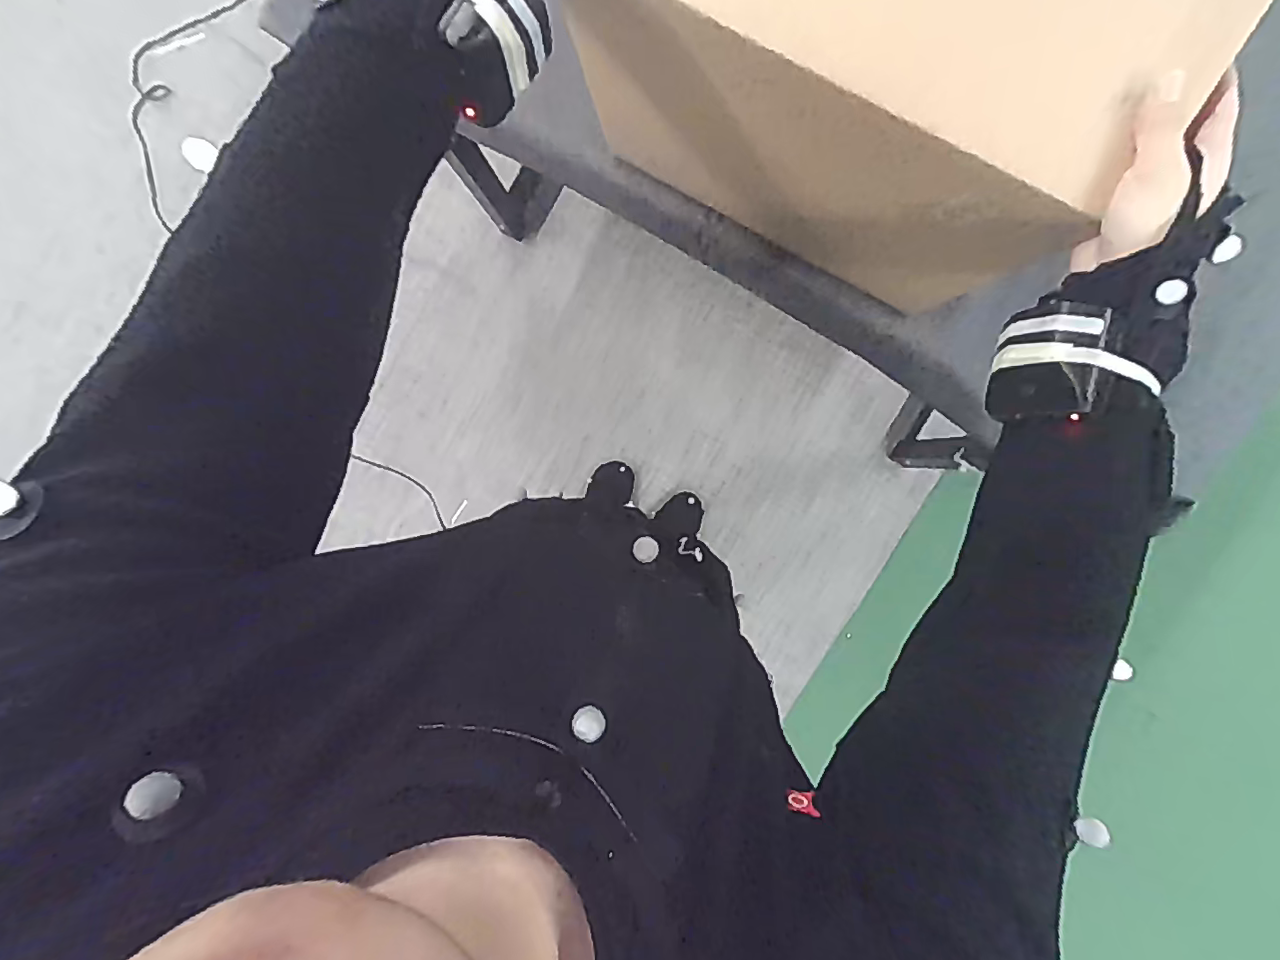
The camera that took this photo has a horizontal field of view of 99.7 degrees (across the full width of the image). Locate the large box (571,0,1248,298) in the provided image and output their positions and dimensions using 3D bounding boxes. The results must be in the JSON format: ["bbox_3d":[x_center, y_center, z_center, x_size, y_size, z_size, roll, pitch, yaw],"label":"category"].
[{"bbox_3d":[0.194,-0.407,0.454,0.408,0.320,0.320,28,100,1],"label":"large box"}]
